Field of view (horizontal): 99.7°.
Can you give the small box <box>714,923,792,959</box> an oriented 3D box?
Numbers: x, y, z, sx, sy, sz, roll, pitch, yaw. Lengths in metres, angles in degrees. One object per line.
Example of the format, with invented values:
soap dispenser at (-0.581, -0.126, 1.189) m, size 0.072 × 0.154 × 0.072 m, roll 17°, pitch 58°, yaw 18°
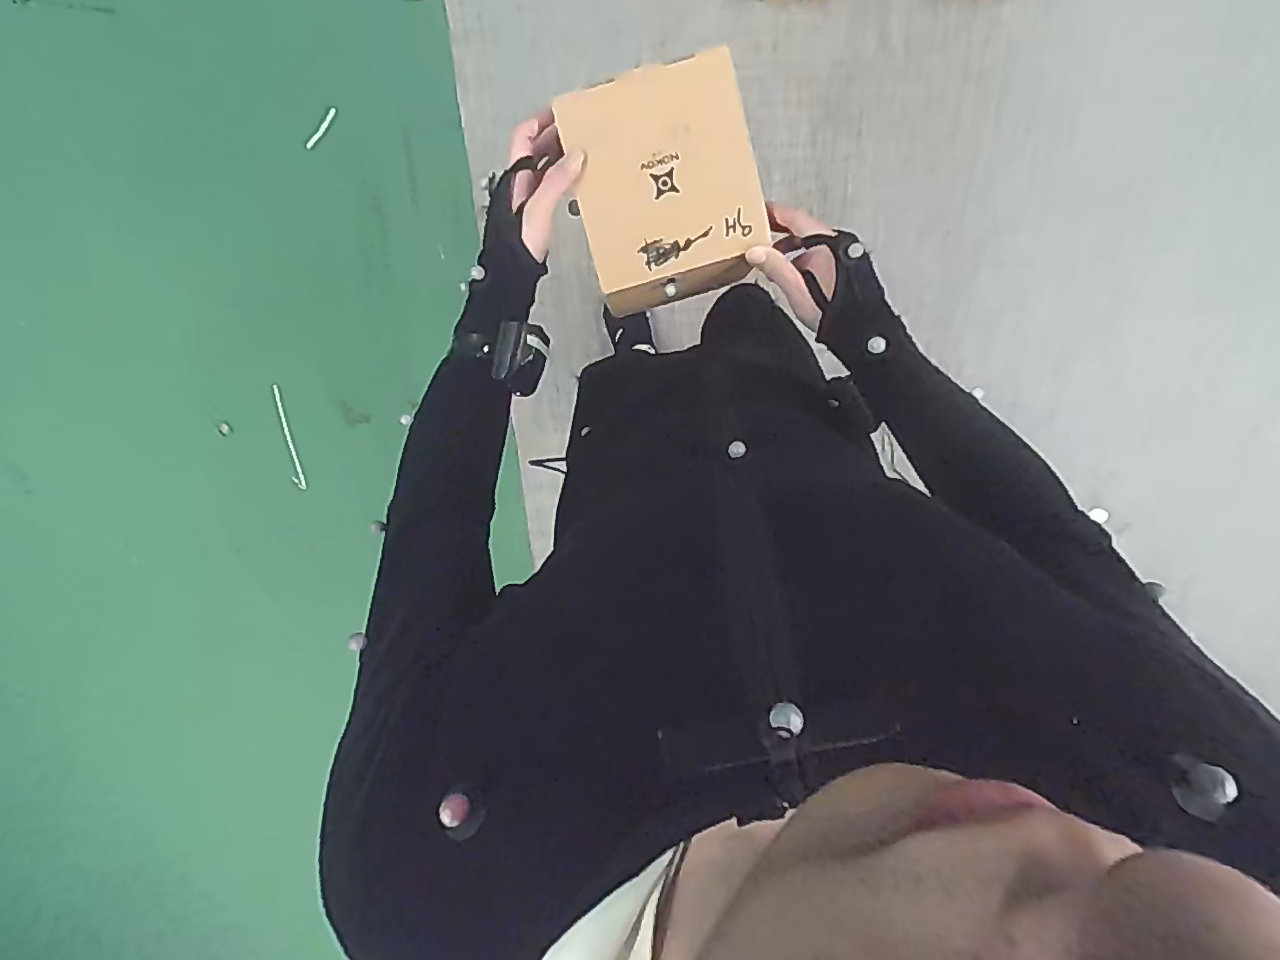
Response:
small box at (0.263, 1.147, 1.228) m, size 0.168 × 0.176 × 0.179 m, roll -5°, pitch 112°, yaw 0°
